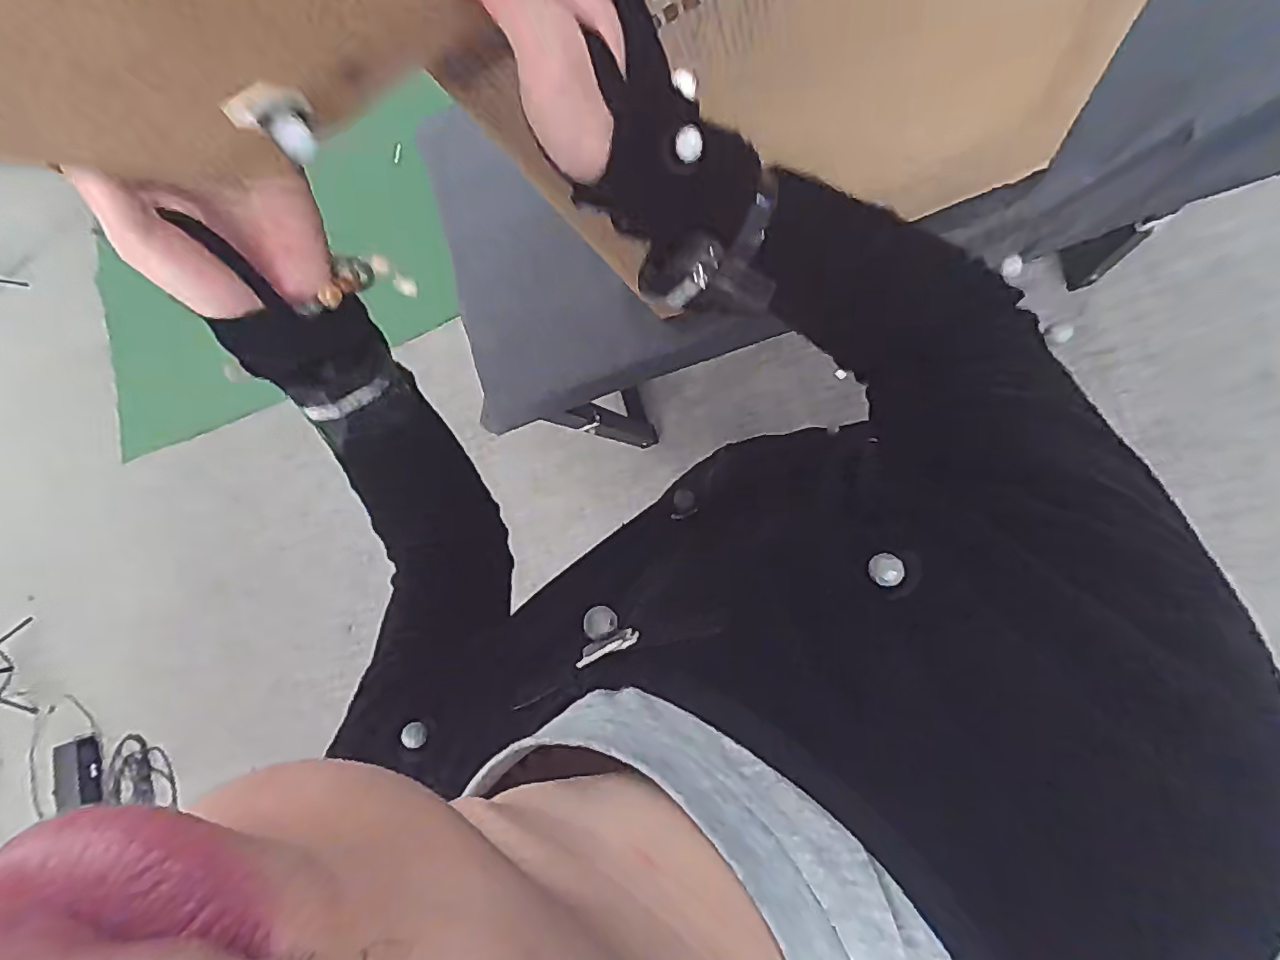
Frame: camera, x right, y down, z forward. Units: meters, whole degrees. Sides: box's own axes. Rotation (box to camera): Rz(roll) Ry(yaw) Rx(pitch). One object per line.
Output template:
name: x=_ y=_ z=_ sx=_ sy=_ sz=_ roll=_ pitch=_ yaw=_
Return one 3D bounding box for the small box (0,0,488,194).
small box: x=-0.186 y=-0.214 z=0.173 sx=0.168 sy=0.176 sz=0.179 roll=-13 pitch=109 yaw=26
